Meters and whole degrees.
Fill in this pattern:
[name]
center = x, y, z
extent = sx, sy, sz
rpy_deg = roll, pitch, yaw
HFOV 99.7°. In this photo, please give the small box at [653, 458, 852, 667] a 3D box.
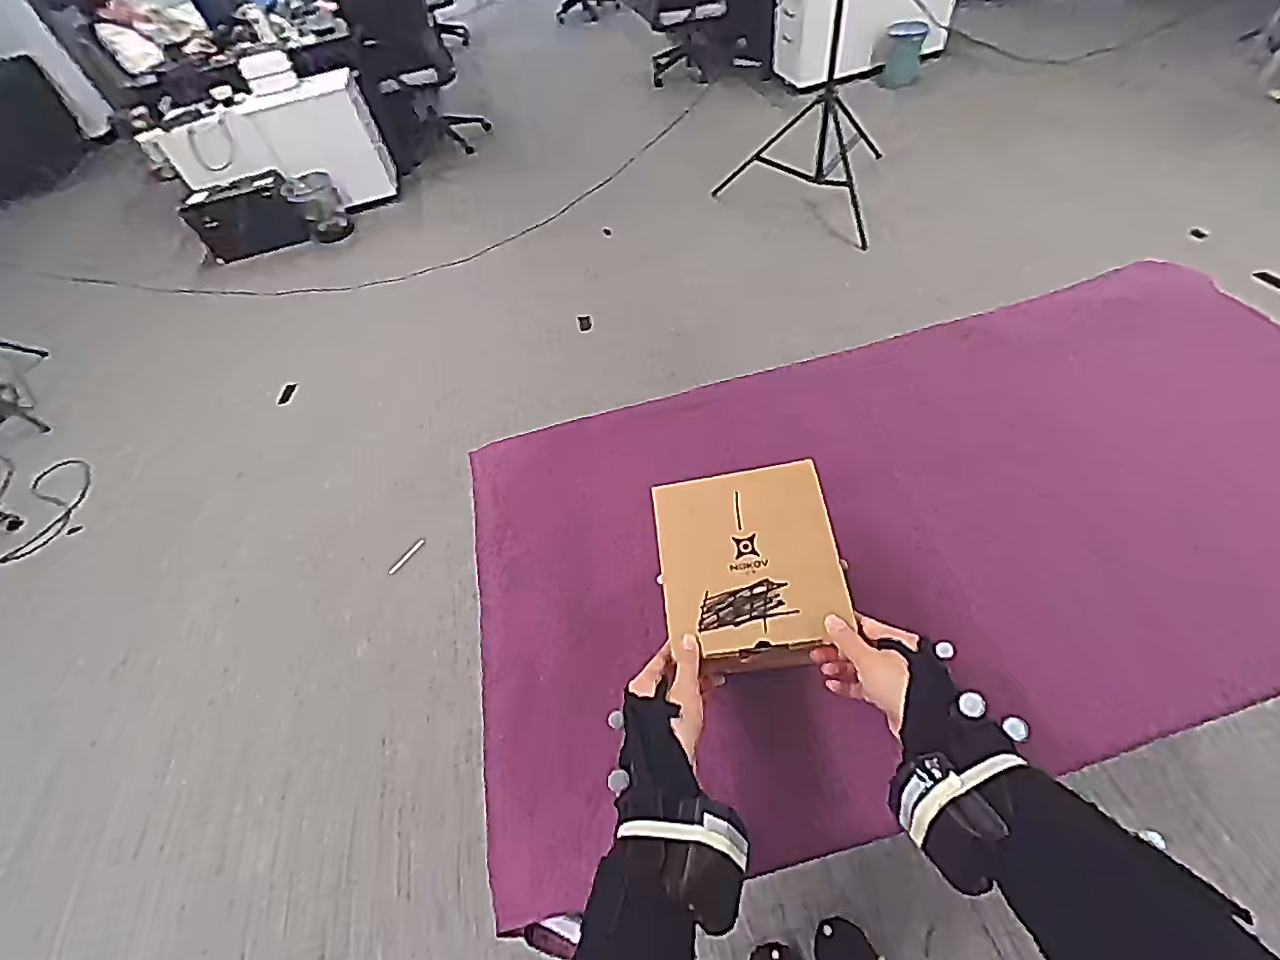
[small box]
center = 0.116, 0.101, 0.583
extent = 0.168, 0.176, 0.179
rpy_deg = -10, 63, 8
